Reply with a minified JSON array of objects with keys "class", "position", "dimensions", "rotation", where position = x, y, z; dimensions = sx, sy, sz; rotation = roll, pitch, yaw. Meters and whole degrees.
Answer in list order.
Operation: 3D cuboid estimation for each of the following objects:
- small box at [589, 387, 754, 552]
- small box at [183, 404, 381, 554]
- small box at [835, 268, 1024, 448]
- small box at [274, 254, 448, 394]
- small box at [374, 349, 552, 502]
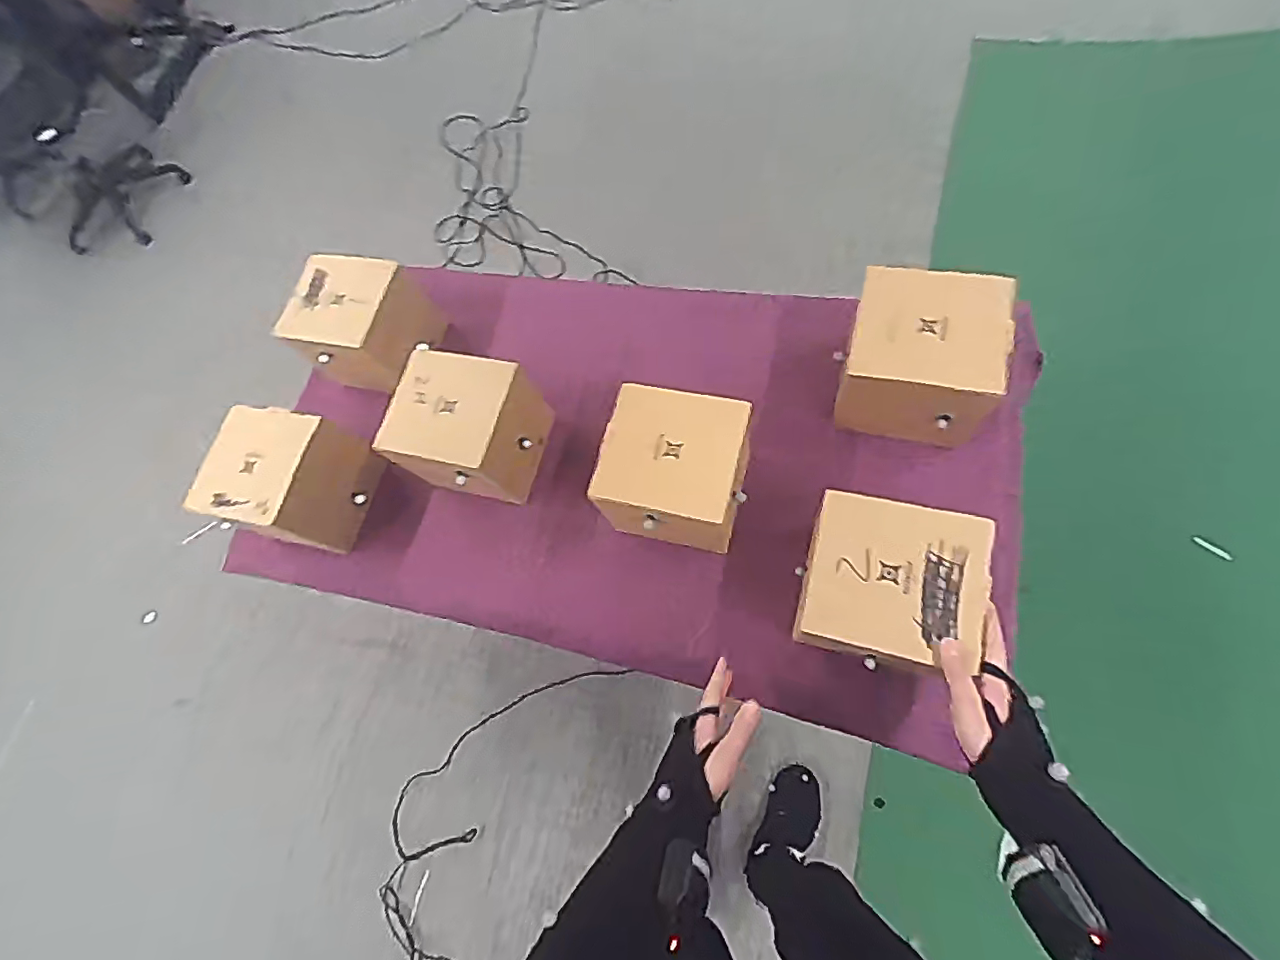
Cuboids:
[{"class":"small box","position":[0.054,-0.006,0.747],"dimensions":[0.179,0.176,0.168],"rotation":[12,73,16]},{"class":"small box","position":[-0.549,0.003,0.860],"dimensions":[0.168,0.176,0.179],"rotation":[9,71,14]},{"class":"small box","position":[0.377,-0.156,0.732],"dimensions":[0.179,0.176,0.168],"rotation":[12,75,16]},{"class":"small box","position":[-0.474,-0.265,0.944],"dimensions":[0.179,0.176,0.168],"rotation":[11,74,14]},{"class":"small box","position":[-0.257,-0.075,0.831],"dimensions":[0.179,0.176,0.168],"rotation":[12,73,15]}]
